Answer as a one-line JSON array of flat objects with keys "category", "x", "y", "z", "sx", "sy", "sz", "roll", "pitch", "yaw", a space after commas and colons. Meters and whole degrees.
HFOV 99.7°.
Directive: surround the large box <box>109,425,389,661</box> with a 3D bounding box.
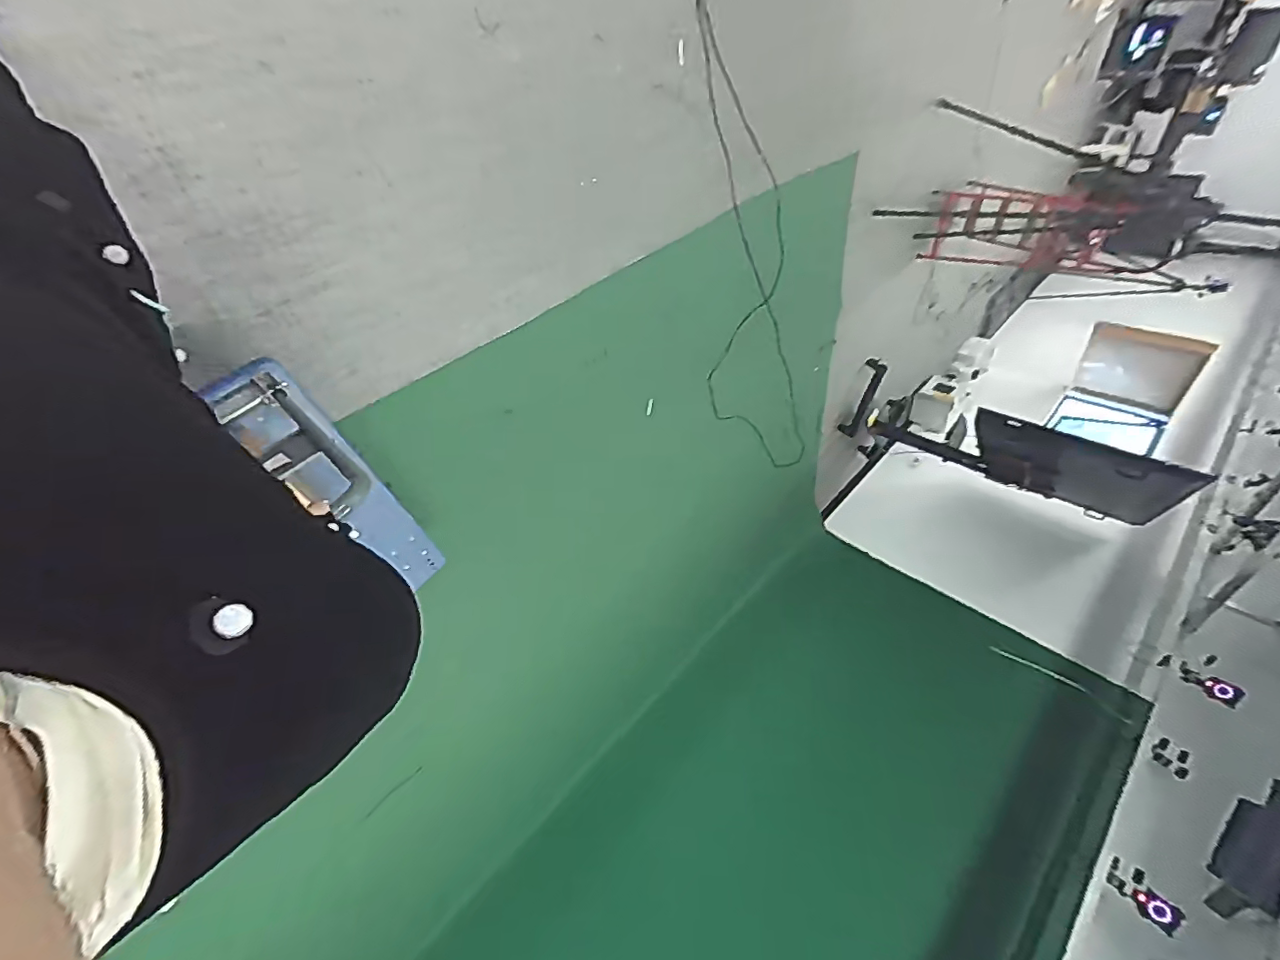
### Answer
[{"category": "large box", "x": -0.898, "y": 0.148, "z": 1.276, "sx": 0.320, "sy": 0.320, "sz": 0.408, "roll": -43, "pitch": 142, "yaw": -21}]
